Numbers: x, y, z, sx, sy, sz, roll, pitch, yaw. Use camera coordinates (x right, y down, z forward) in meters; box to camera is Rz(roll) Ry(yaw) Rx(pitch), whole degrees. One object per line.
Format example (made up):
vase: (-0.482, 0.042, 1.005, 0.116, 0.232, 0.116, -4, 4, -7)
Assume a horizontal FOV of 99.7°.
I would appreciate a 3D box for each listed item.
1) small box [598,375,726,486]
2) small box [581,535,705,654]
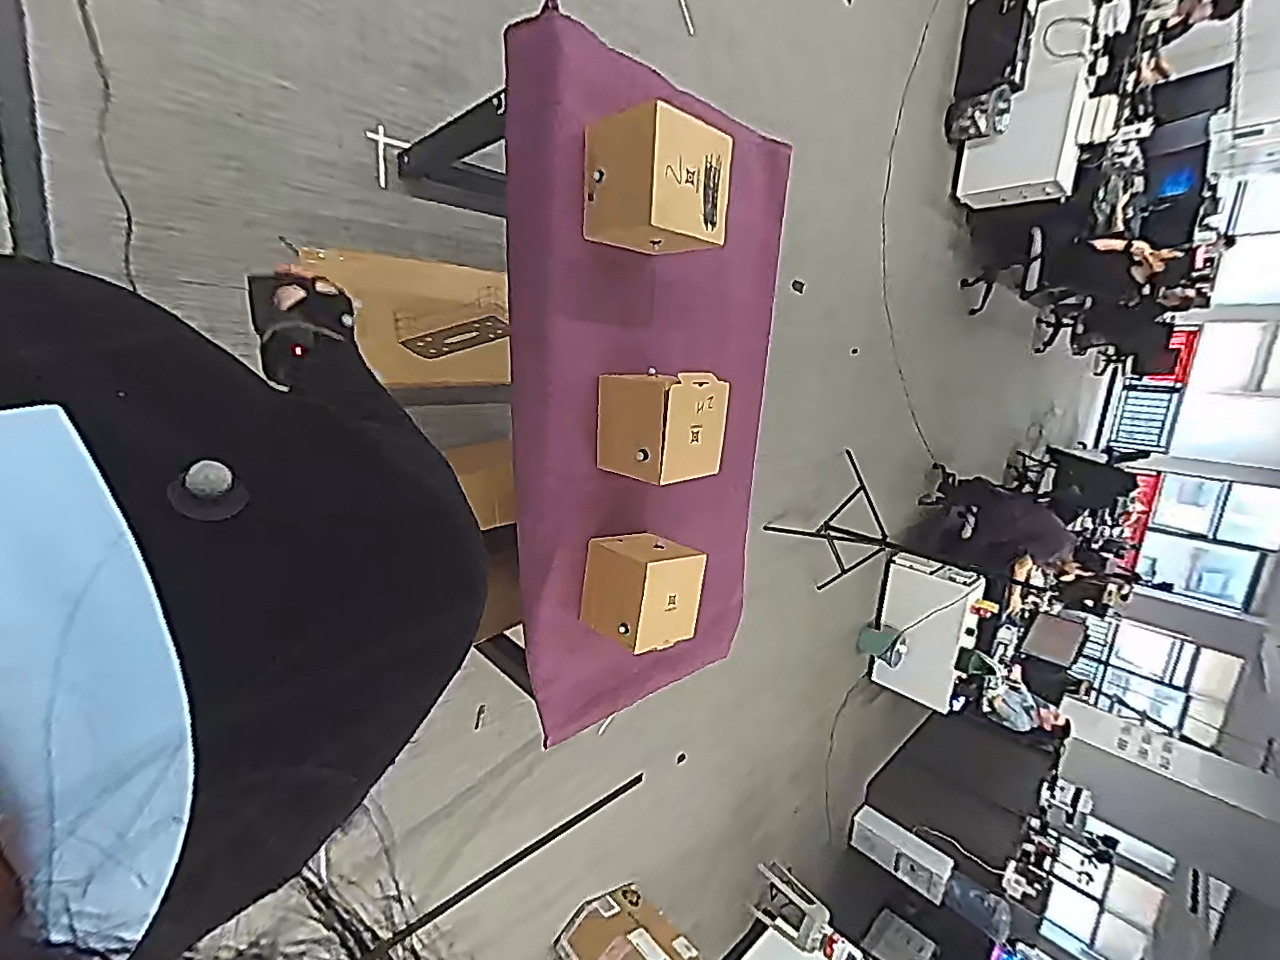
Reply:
small box: (0.036, -0.099, 1.004, 0.168, 0.176, 0.179, -11, 109, -45)
small box: (0.002, 0.212, 1.063, 0.168, 0.176, 0.179, 0, 102, -45)
